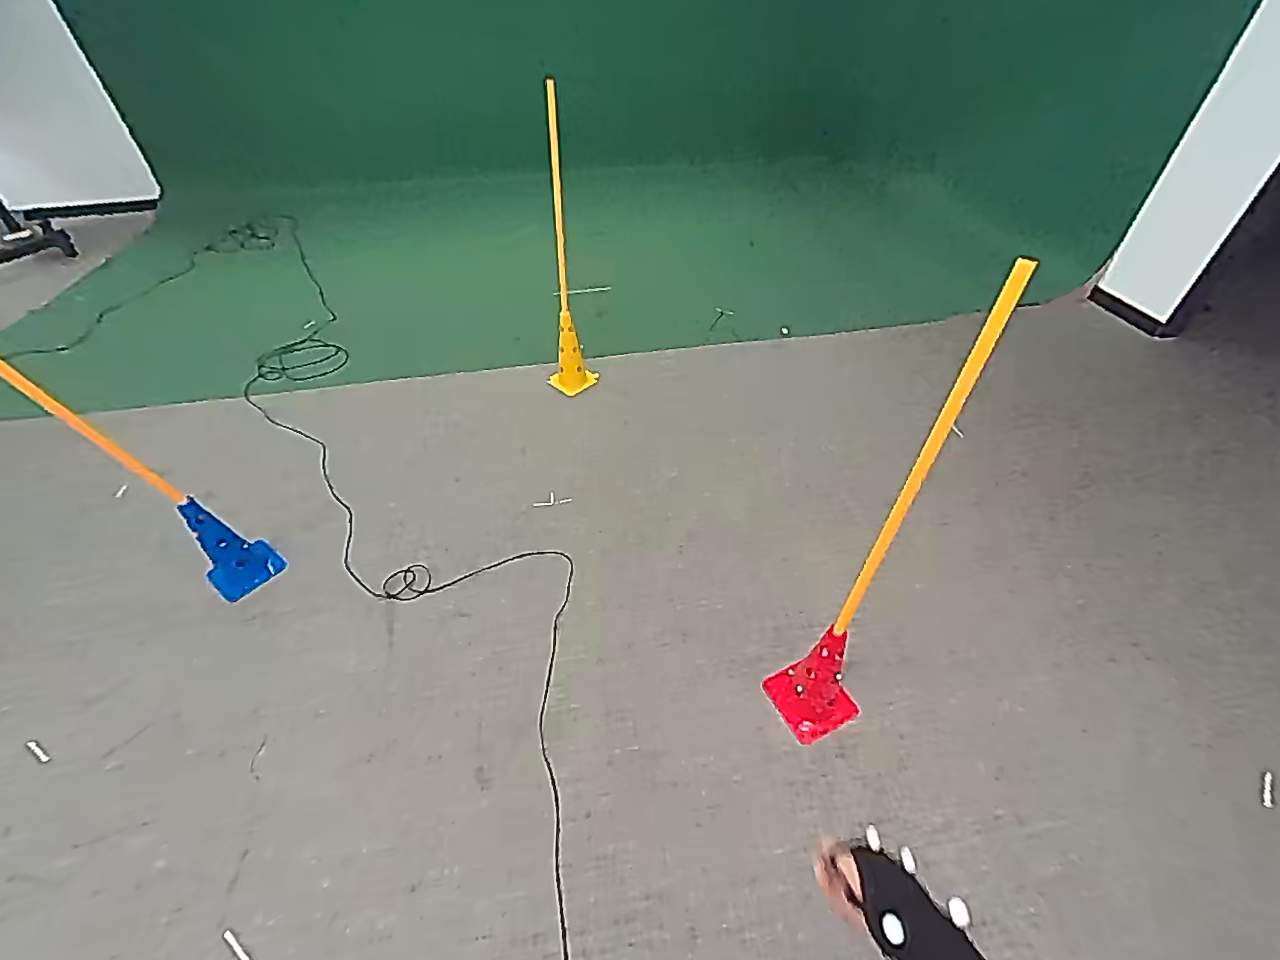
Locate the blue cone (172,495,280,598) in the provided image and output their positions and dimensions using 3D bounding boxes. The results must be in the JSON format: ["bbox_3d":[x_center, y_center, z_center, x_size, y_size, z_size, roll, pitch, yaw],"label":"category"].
[{"bbox_3d":[-1.358,0.190,1.732,0.192,0.380,0.193,27,53,25],"label":"blue cone"}]
